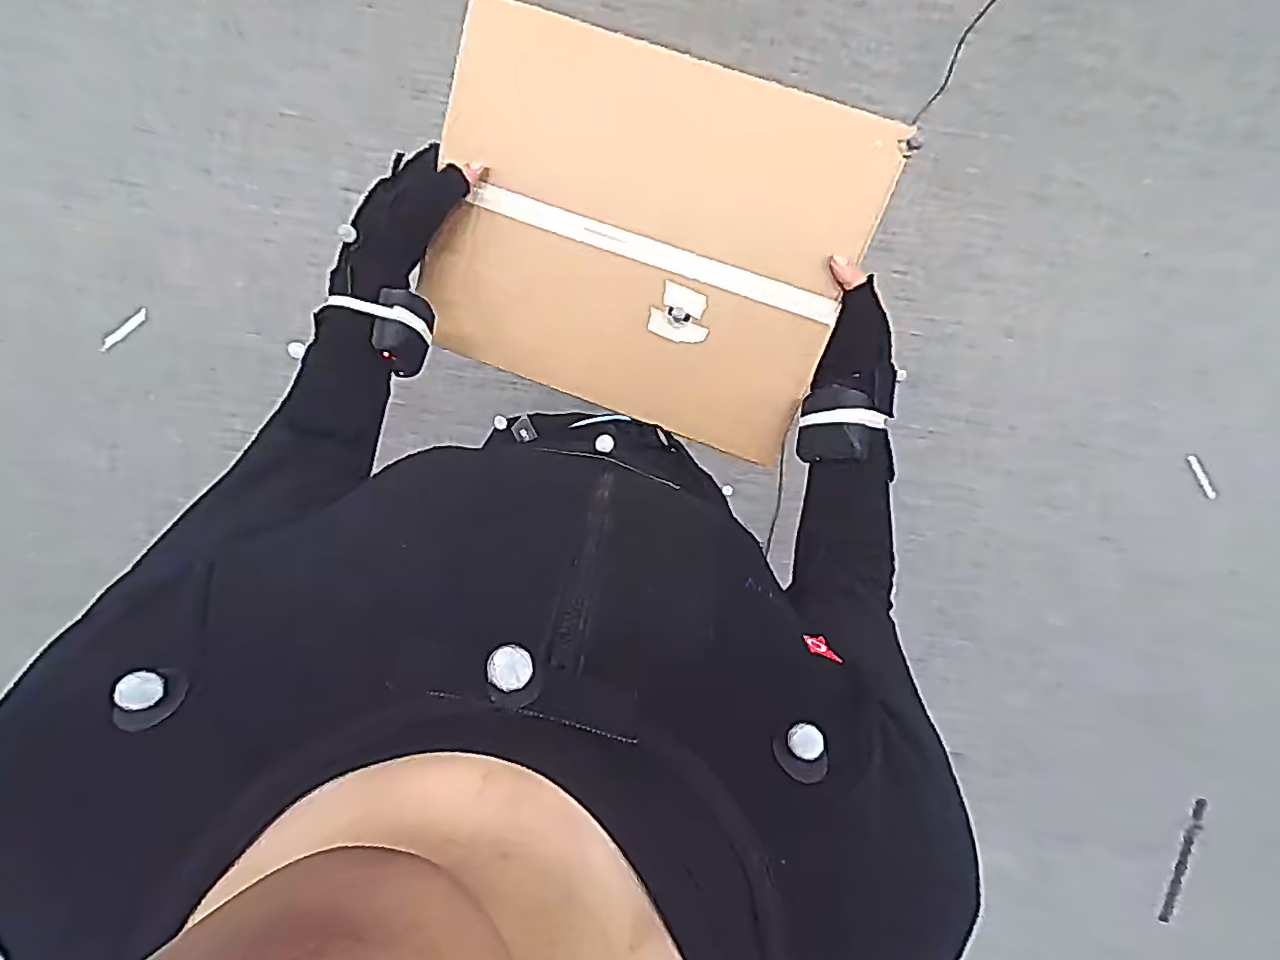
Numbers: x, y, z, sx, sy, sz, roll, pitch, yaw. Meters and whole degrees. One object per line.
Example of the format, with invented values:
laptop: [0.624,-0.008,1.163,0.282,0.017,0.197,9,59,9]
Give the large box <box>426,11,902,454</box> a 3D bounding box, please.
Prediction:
large box: [0.019,-0.268,0.664,0.408,0.320,0.320,20,110,3]
